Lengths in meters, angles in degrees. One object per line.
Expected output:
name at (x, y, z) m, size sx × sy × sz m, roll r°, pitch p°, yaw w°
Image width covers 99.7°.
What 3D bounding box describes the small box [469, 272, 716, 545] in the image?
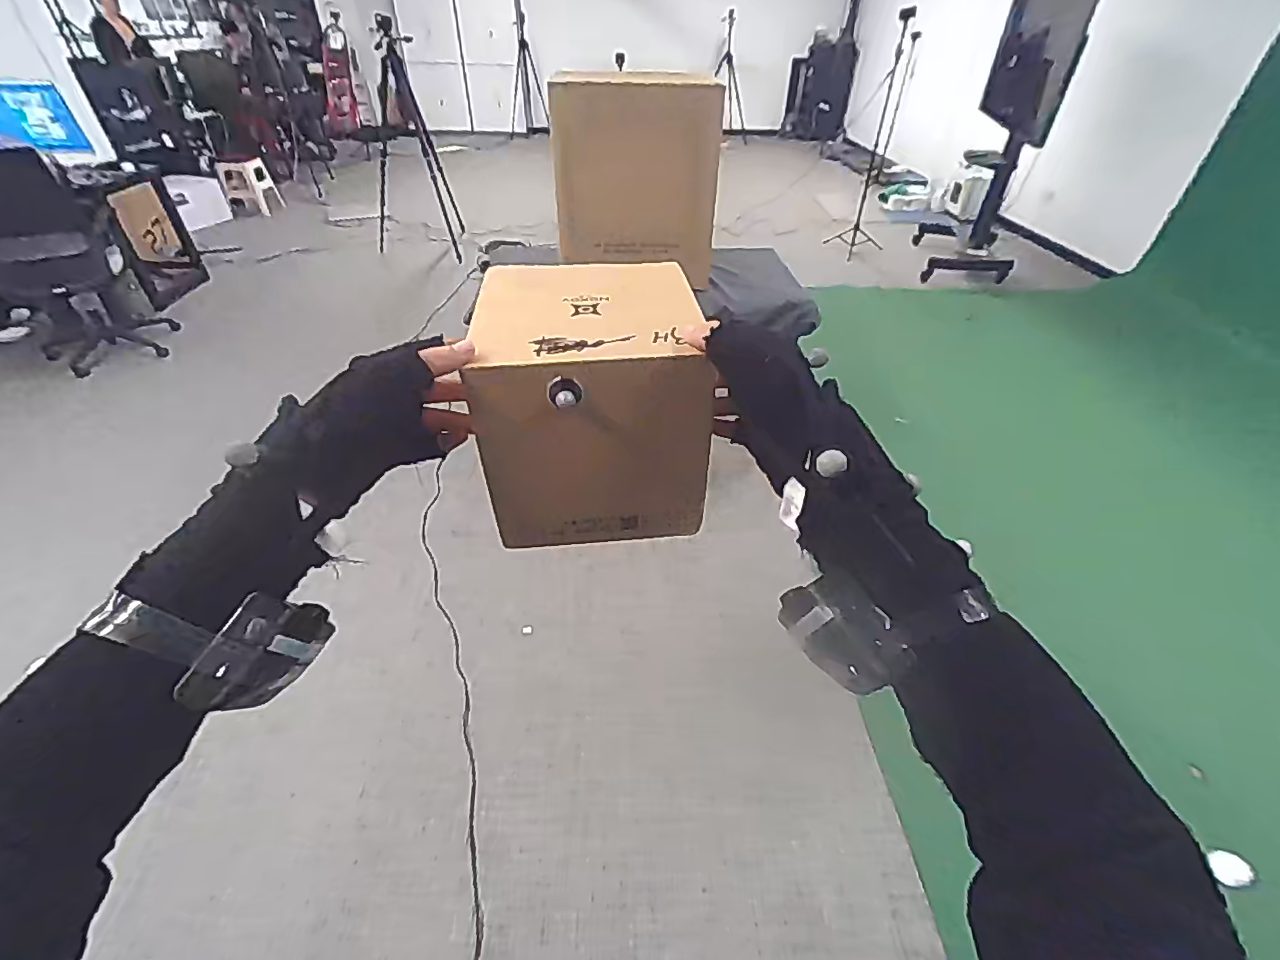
small box at (-0.037, -0.066, 0.466) m, size 0.168 × 0.176 × 0.179 m, roll -4°, pitch 39°, yaw -4°
